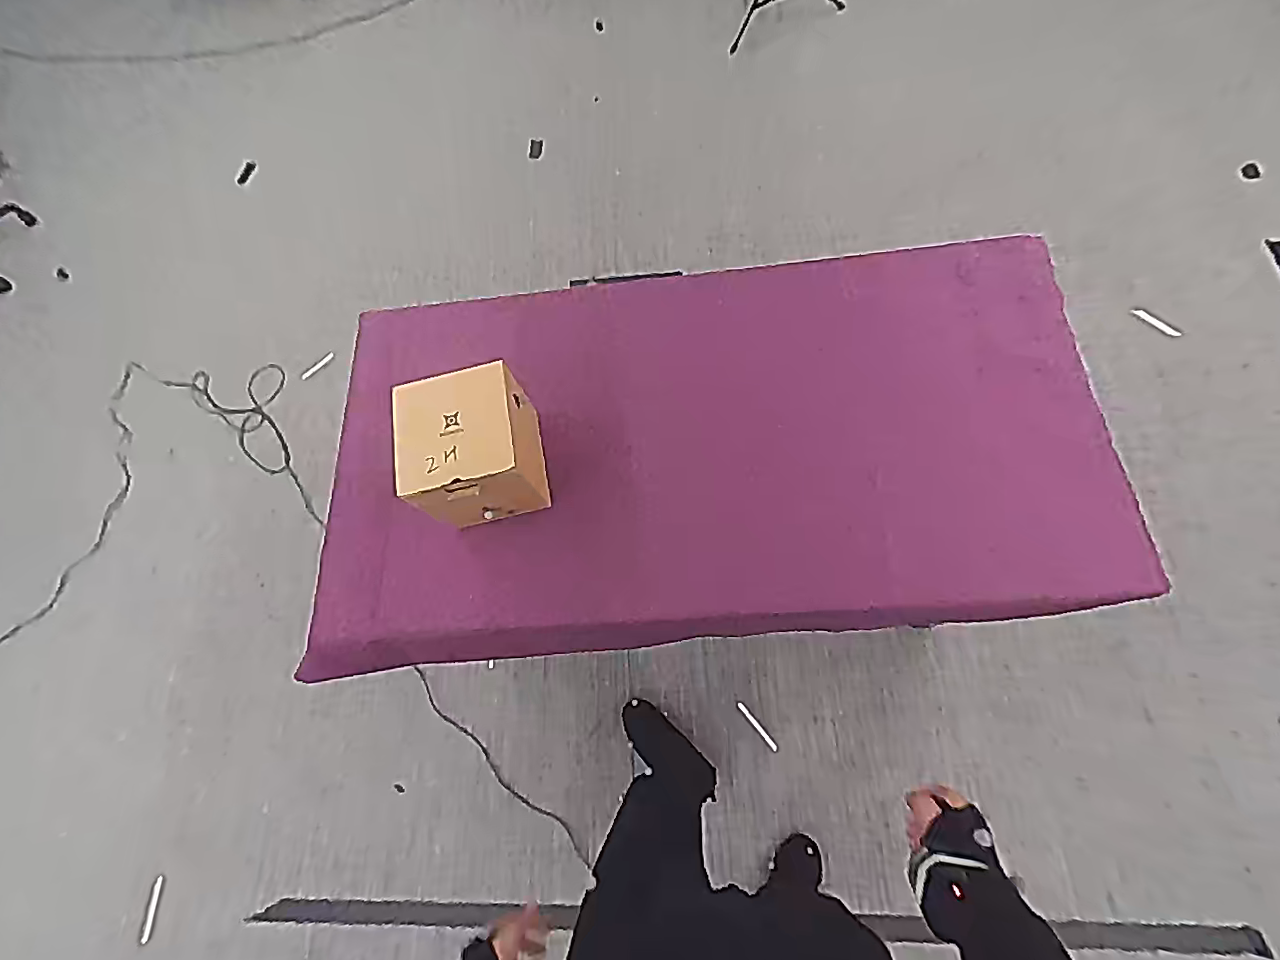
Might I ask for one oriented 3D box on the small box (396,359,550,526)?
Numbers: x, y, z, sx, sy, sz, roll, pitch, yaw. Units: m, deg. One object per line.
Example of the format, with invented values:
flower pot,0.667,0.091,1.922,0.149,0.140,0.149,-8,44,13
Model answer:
small box,-0.243,-0.048,0.810,0.168,0.176,0.179,-13,69,3
